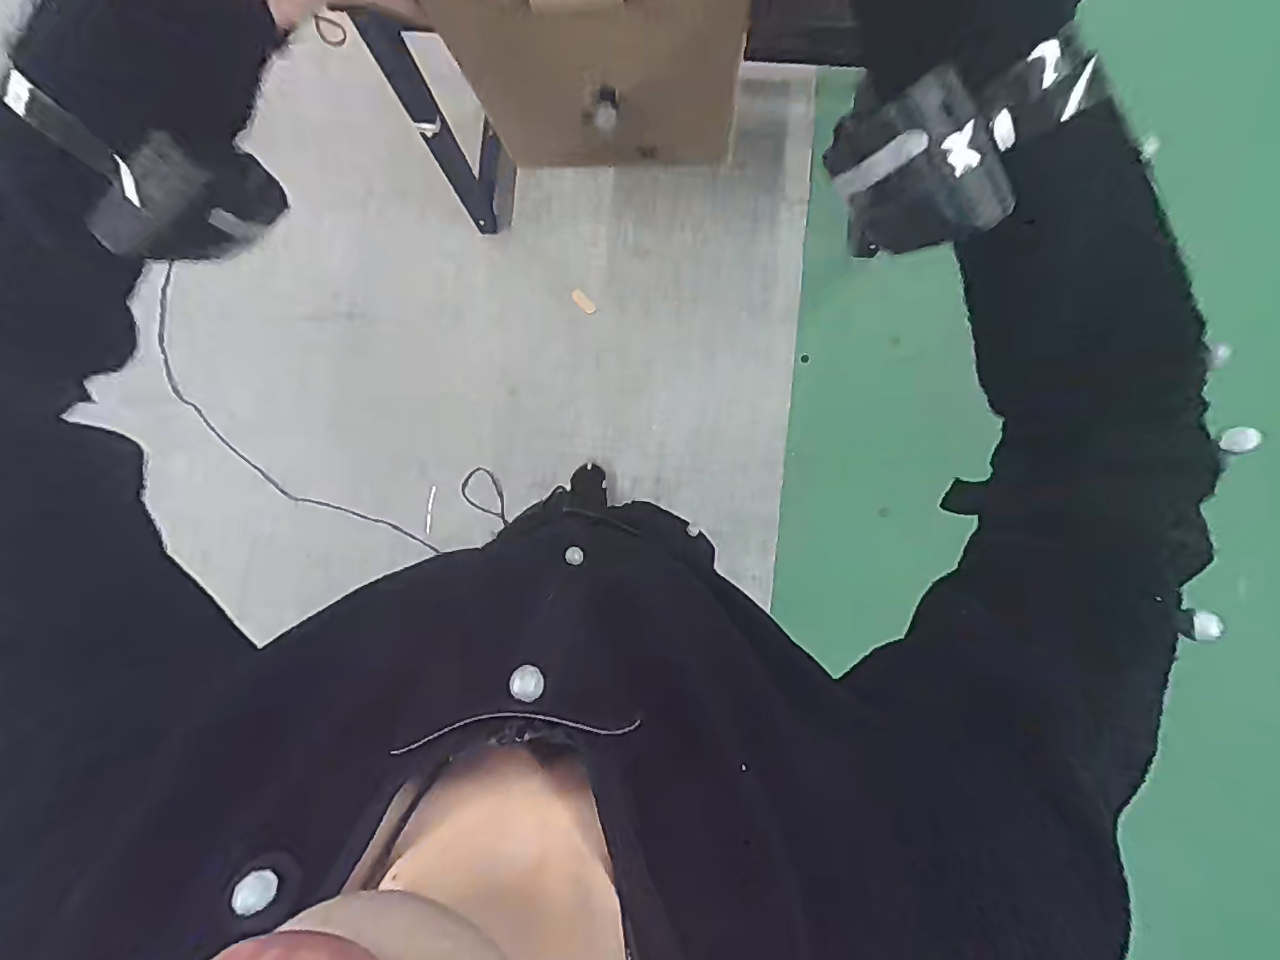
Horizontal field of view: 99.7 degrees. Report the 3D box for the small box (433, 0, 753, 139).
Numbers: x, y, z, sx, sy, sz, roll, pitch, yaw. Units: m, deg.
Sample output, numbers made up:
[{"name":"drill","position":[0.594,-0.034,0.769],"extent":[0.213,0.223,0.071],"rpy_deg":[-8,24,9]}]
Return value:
[{"name":"small box","position":[-0.015,-0.327,0.312],"extent":[0.168,0.176,0.179],"rpy_deg":[2,93,5]}]
